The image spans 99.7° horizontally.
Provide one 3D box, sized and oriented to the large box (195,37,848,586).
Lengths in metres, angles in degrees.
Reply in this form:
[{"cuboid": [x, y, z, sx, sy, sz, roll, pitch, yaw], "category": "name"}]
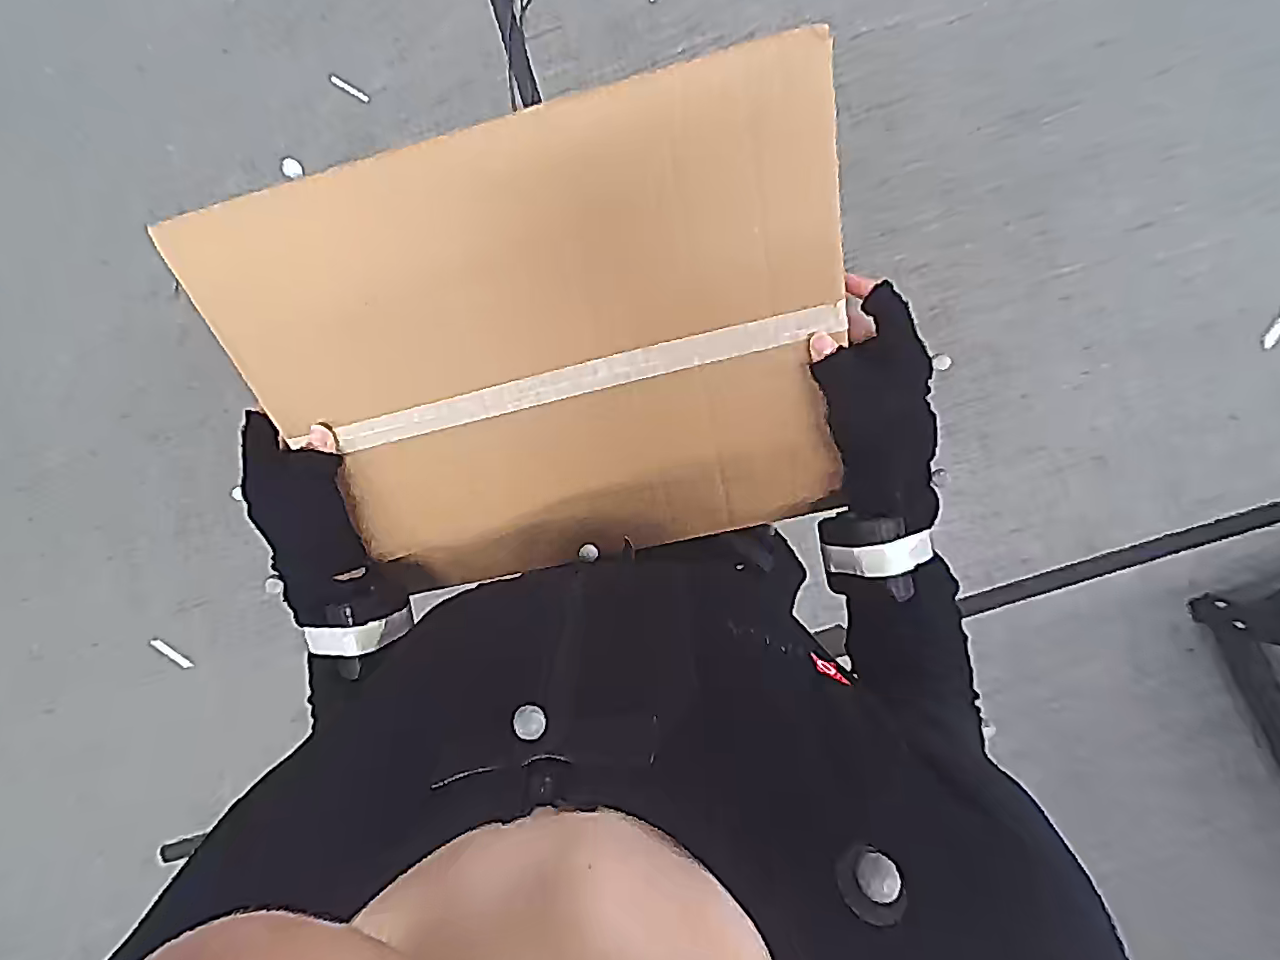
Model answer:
[{"cuboid": [-0.060, -0.147, 0.520, 0.408, 0.320, 0.320, -12, 121, 7], "category": "large box"}]
